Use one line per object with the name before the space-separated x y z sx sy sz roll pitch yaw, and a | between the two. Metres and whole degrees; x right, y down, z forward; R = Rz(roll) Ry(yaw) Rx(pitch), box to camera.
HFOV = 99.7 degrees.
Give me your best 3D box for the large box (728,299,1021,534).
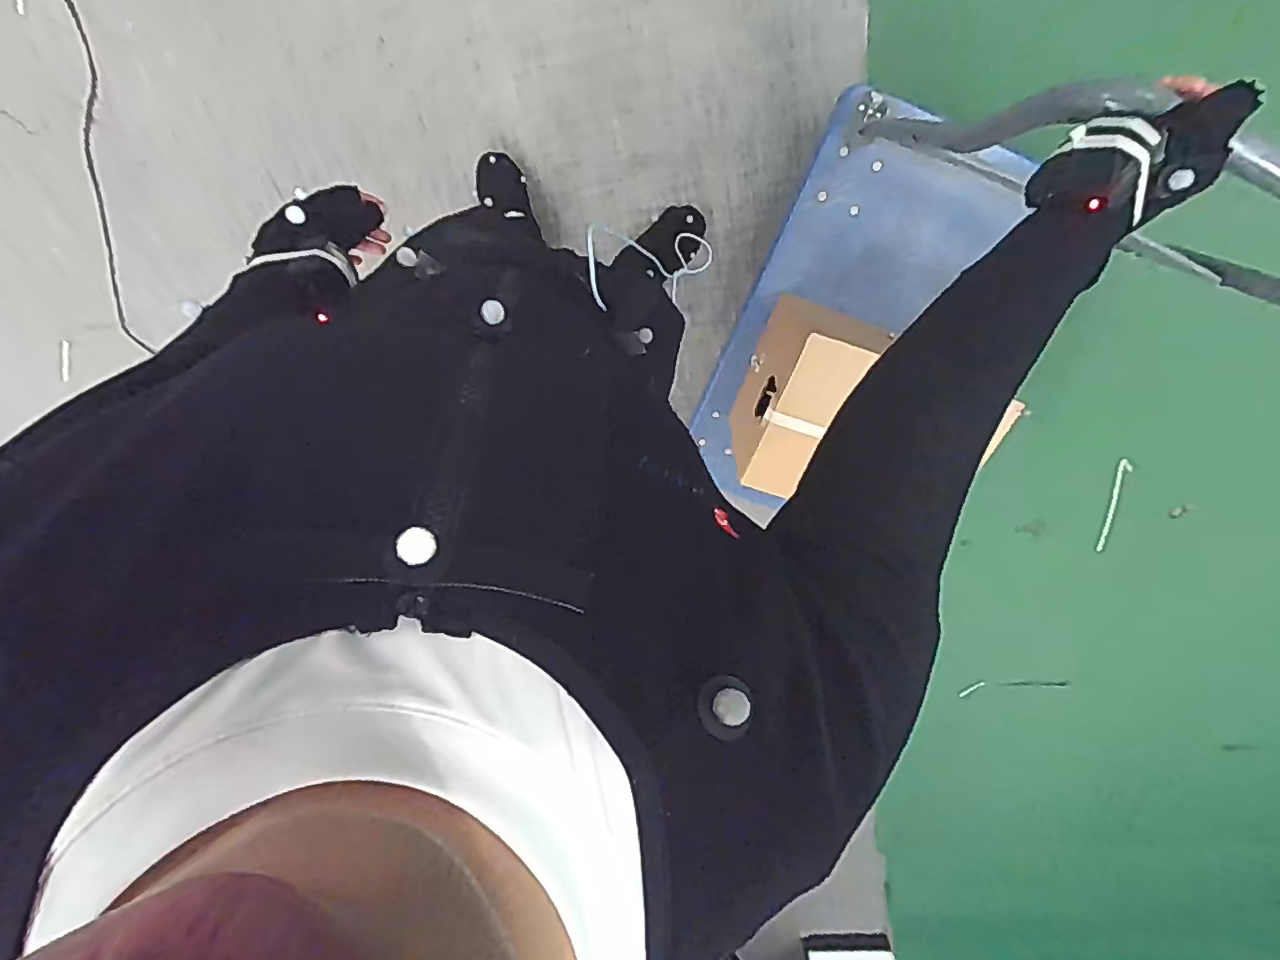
large box | 0.430 -0.140 1.109 0.408 0.320 0.320 15 121 -6
